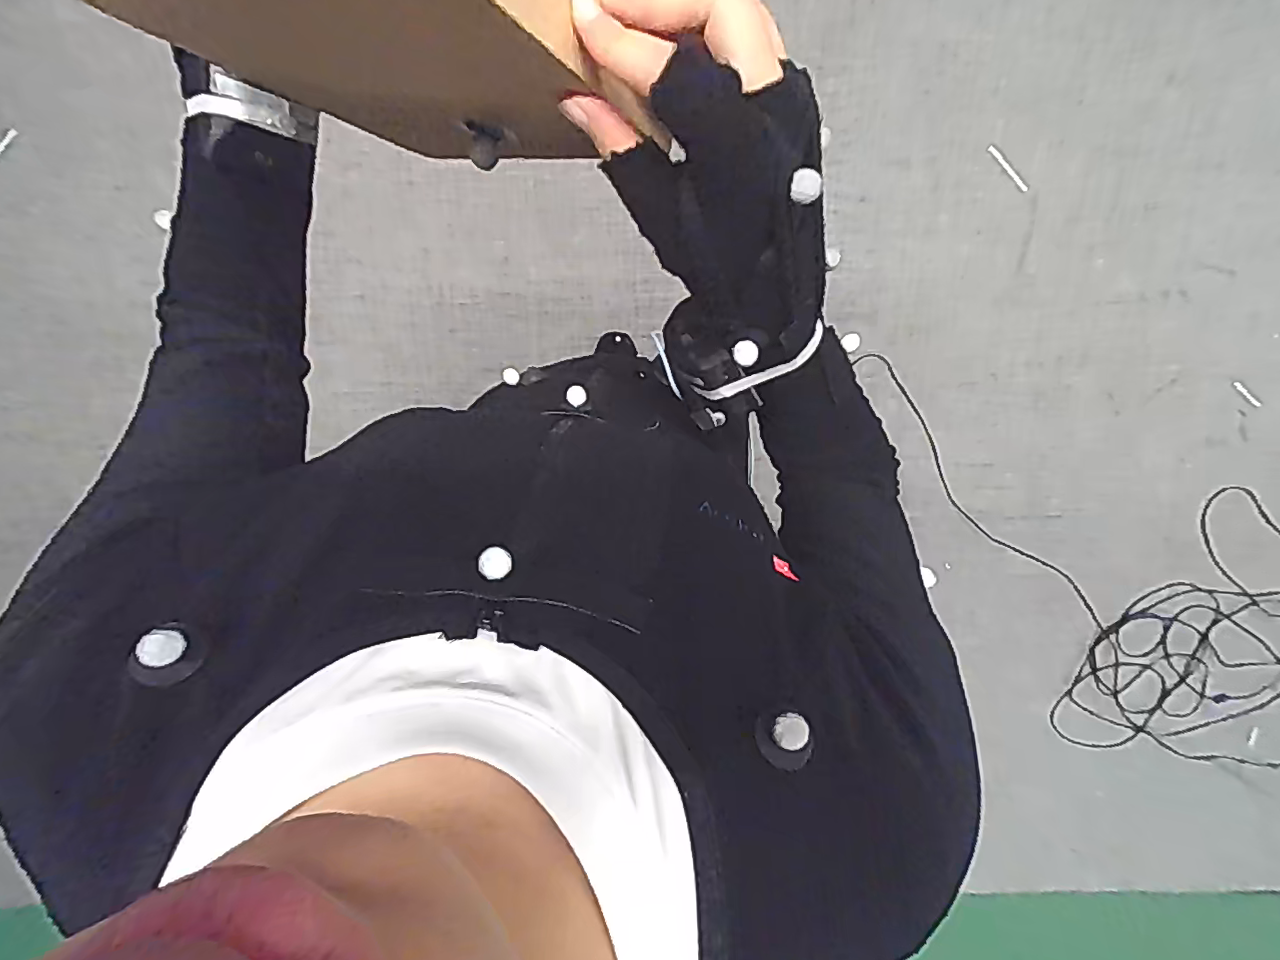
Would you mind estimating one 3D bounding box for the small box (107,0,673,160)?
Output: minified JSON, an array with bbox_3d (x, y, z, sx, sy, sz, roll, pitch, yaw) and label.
[{"bbox_3d":[-0.086,-0.255,0.228,0.179,0.176,0.168,16,106,25],"label":"small box"}]
